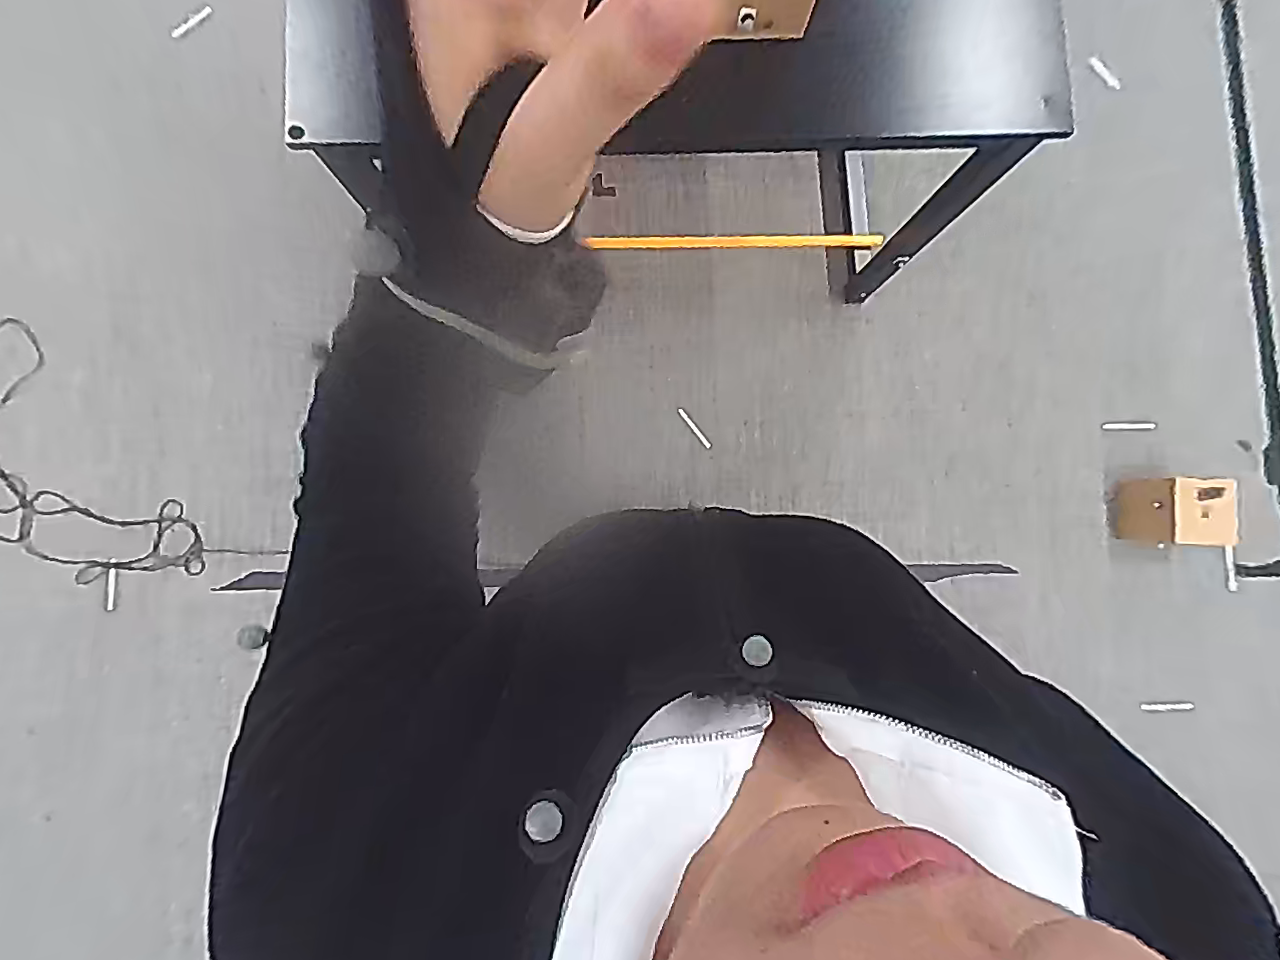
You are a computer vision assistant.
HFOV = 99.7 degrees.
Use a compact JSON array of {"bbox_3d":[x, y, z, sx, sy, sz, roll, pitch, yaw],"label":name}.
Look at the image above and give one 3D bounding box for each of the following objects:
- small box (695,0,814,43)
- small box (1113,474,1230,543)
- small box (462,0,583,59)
[{"bbox_3d":[0.167,-0.773,0.767,0.168,0.176,0.179,-3,87,-1],"label":"small box"},{"bbox_3d":[1.450,0.079,1.484,0.168,0.176,0.179,2,87,-2],"label":"small box"},{"bbox_3d":[-0.168,-0.738,0.750,0.168,0.176,0.179,-1,86,-2],"label":"small box"}]
